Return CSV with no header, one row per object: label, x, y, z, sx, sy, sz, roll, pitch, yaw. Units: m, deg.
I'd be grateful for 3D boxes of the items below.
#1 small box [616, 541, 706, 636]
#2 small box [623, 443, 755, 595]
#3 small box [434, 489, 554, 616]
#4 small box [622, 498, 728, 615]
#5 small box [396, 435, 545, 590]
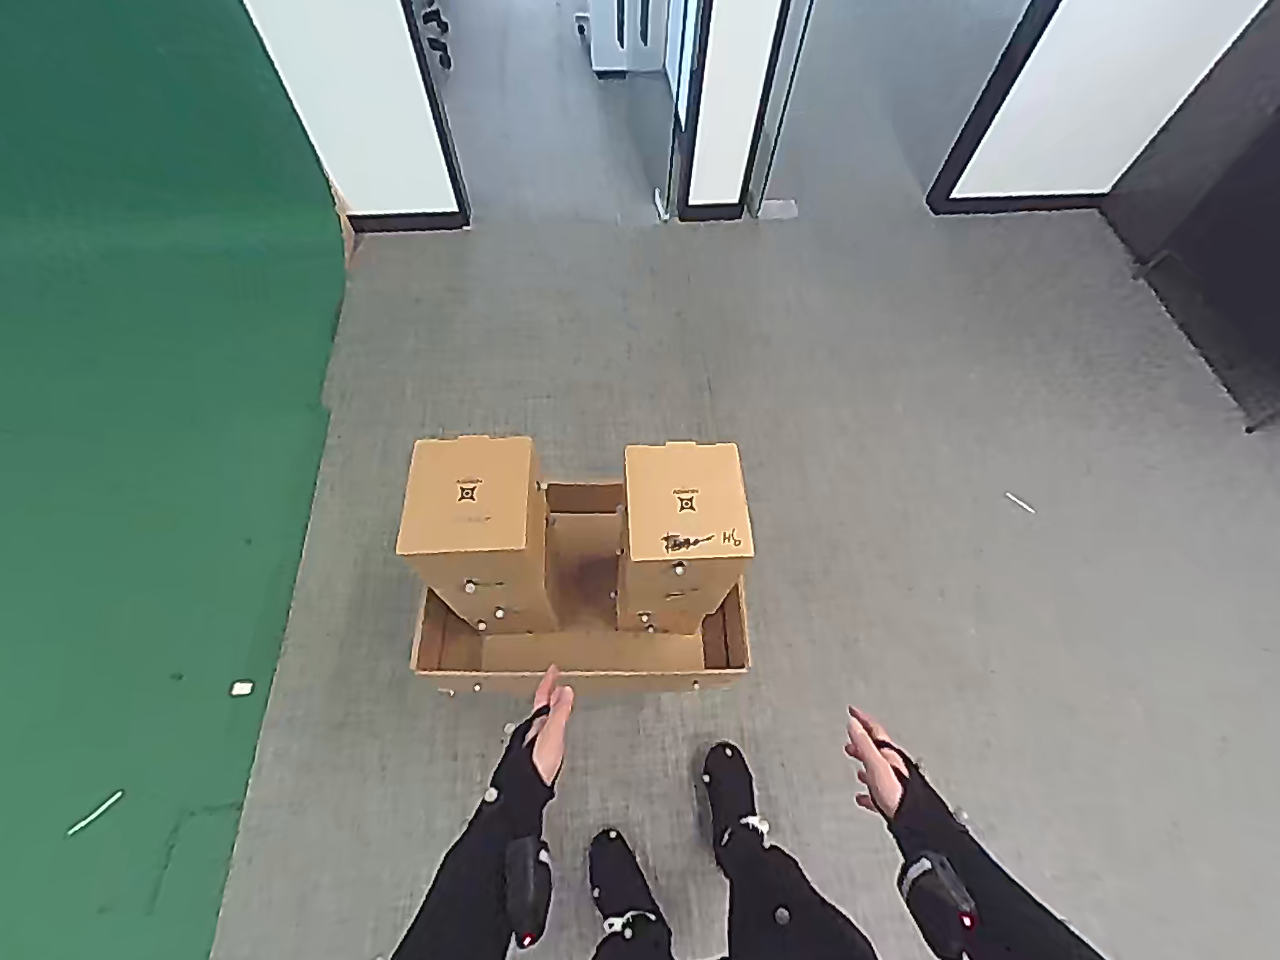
small box,0.039,0.207,1.101,0.168,0.176,0.179,2,62,-2
small box,0.061,0.062,0.808,0.168,0.176,0.179,-1,62,-4
small box,-0.241,0.128,0.941,0.168,0.176,0.179,-2,61,-3
small box,0.054,0.135,0.954,0.168,0.176,0.179,-1,62,-4
small box,-0.234,0.051,0.797,0.168,0.176,0.179,-1,61,-2
